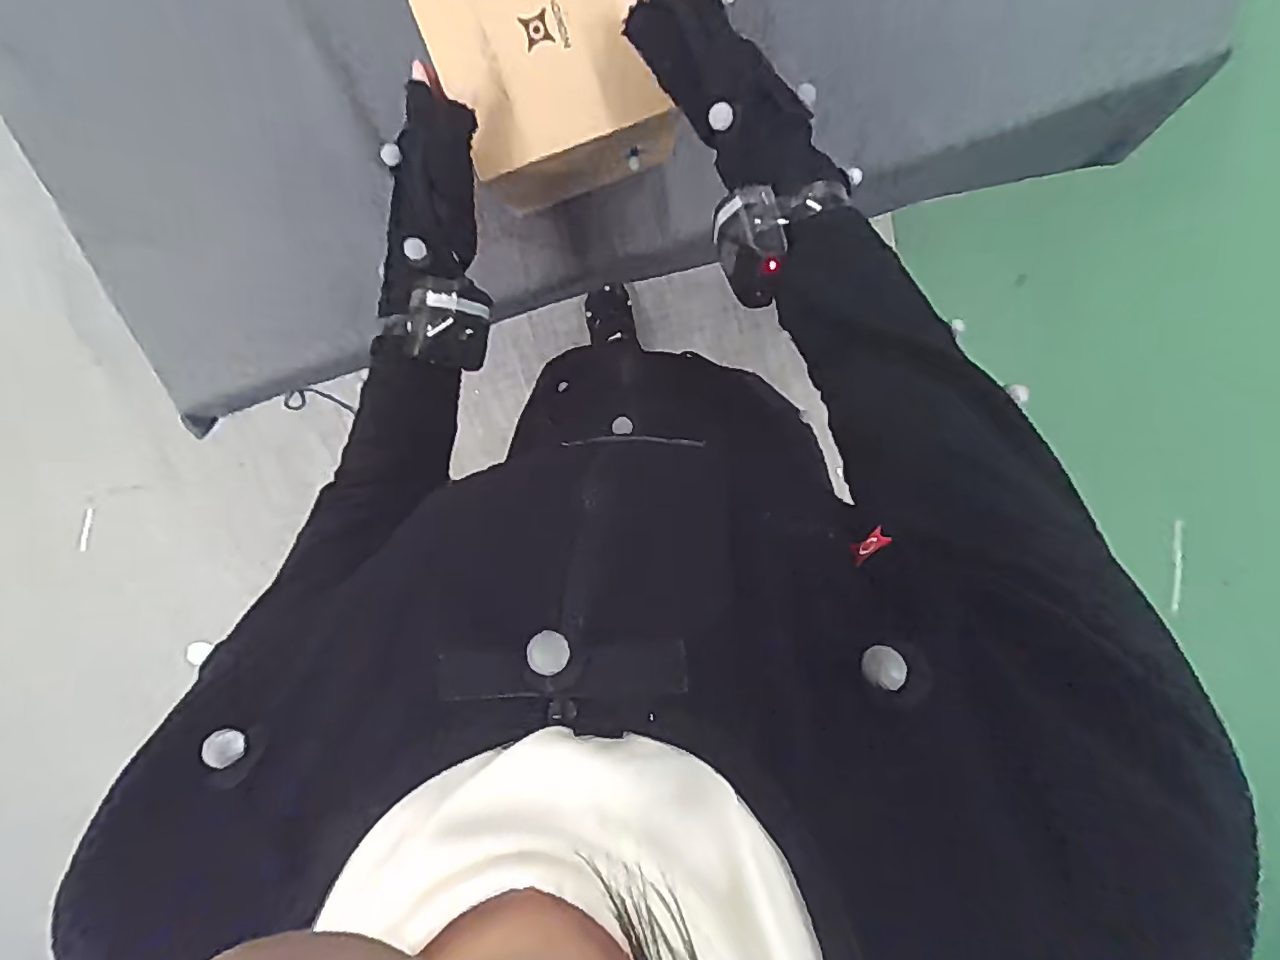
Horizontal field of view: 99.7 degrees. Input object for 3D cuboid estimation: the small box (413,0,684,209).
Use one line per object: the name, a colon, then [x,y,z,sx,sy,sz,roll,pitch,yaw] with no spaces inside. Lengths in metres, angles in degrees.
small box: [-0.073,-0.366,0.484,0.179,0.176,0.168,-18,106,6]

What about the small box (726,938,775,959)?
small box: [0.428,1.865,2.013,0.179,0.176,0.168,-17,108,3]
